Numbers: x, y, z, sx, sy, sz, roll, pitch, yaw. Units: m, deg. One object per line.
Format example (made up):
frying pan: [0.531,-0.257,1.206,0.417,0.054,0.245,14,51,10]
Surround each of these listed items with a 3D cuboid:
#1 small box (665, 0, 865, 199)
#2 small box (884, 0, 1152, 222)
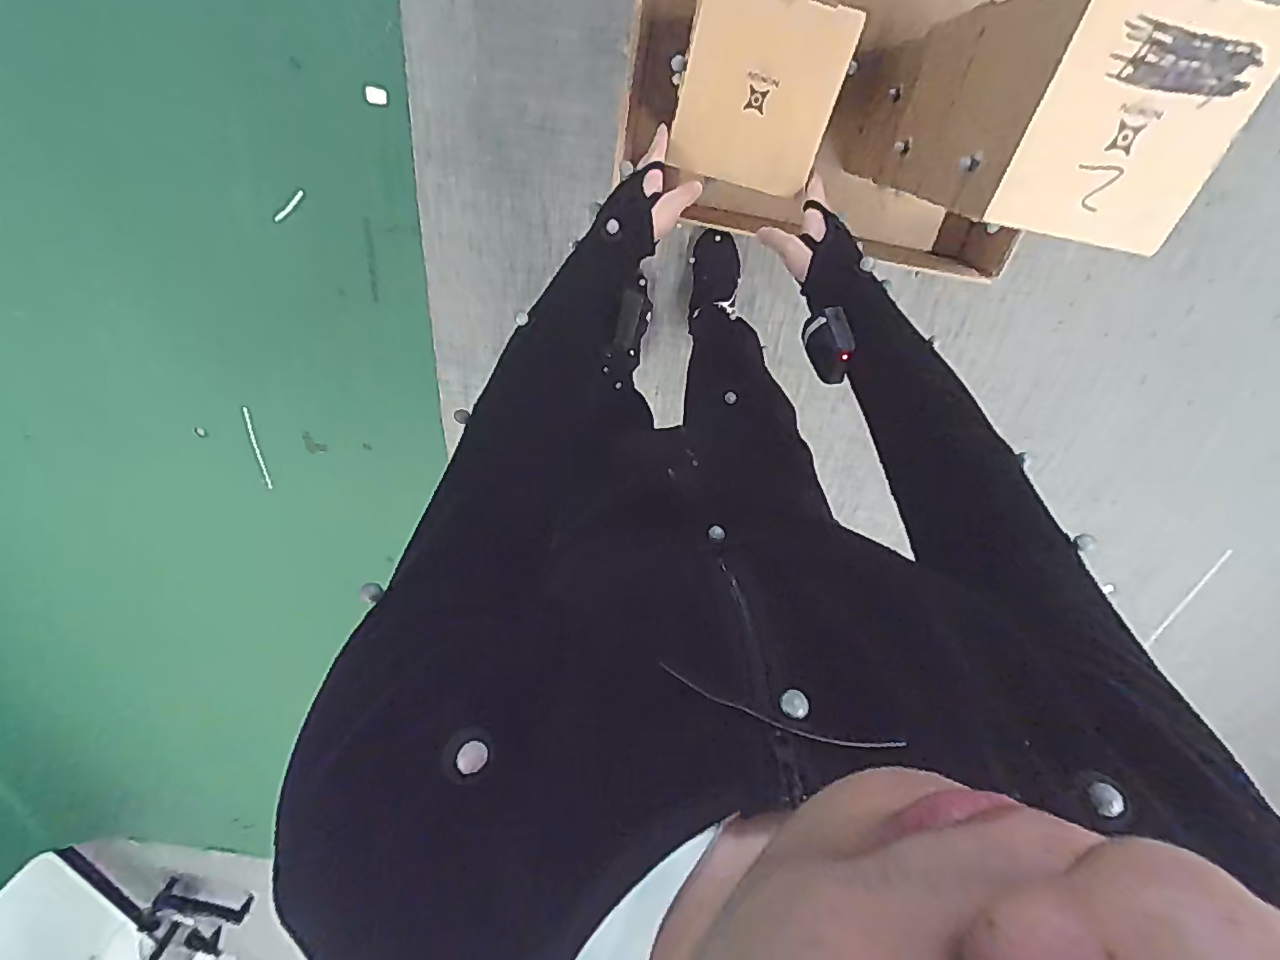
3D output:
small box: [0.135,-0.459,0.644,0.168,0.176,0.179,14,123,-3]
small box: [0.413,-0.425,0.636,0.168,0.176,0.179,11,123,-2]
